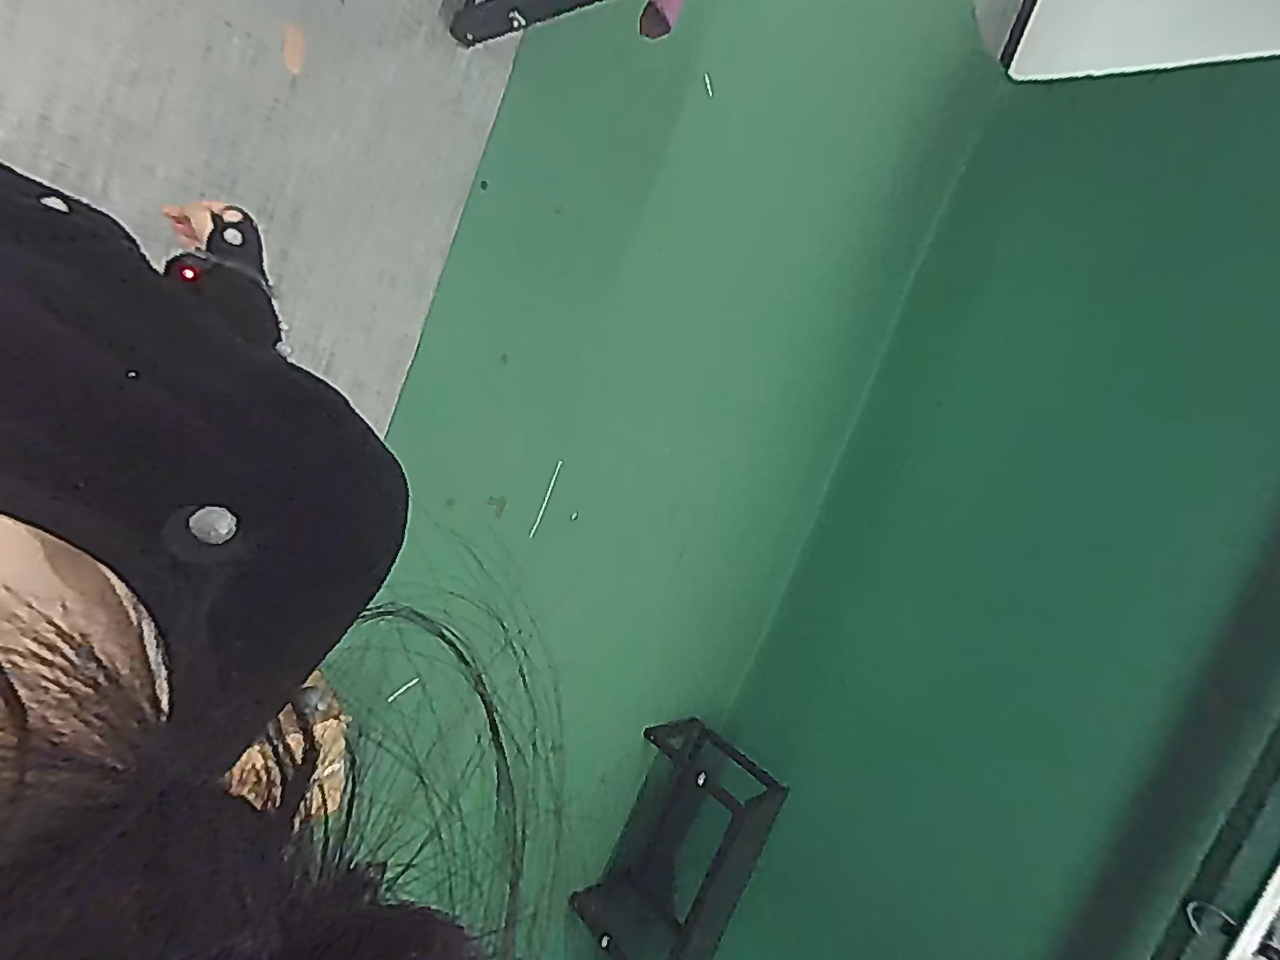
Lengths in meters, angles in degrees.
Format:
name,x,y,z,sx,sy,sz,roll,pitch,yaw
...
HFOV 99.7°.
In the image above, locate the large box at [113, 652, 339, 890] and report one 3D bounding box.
name,x,y,z,sx,sy,sz,roll,pitch,yaw
large box,-1.053,0.704,1.391,0.408,0.320,0.320,-6,115,-48
